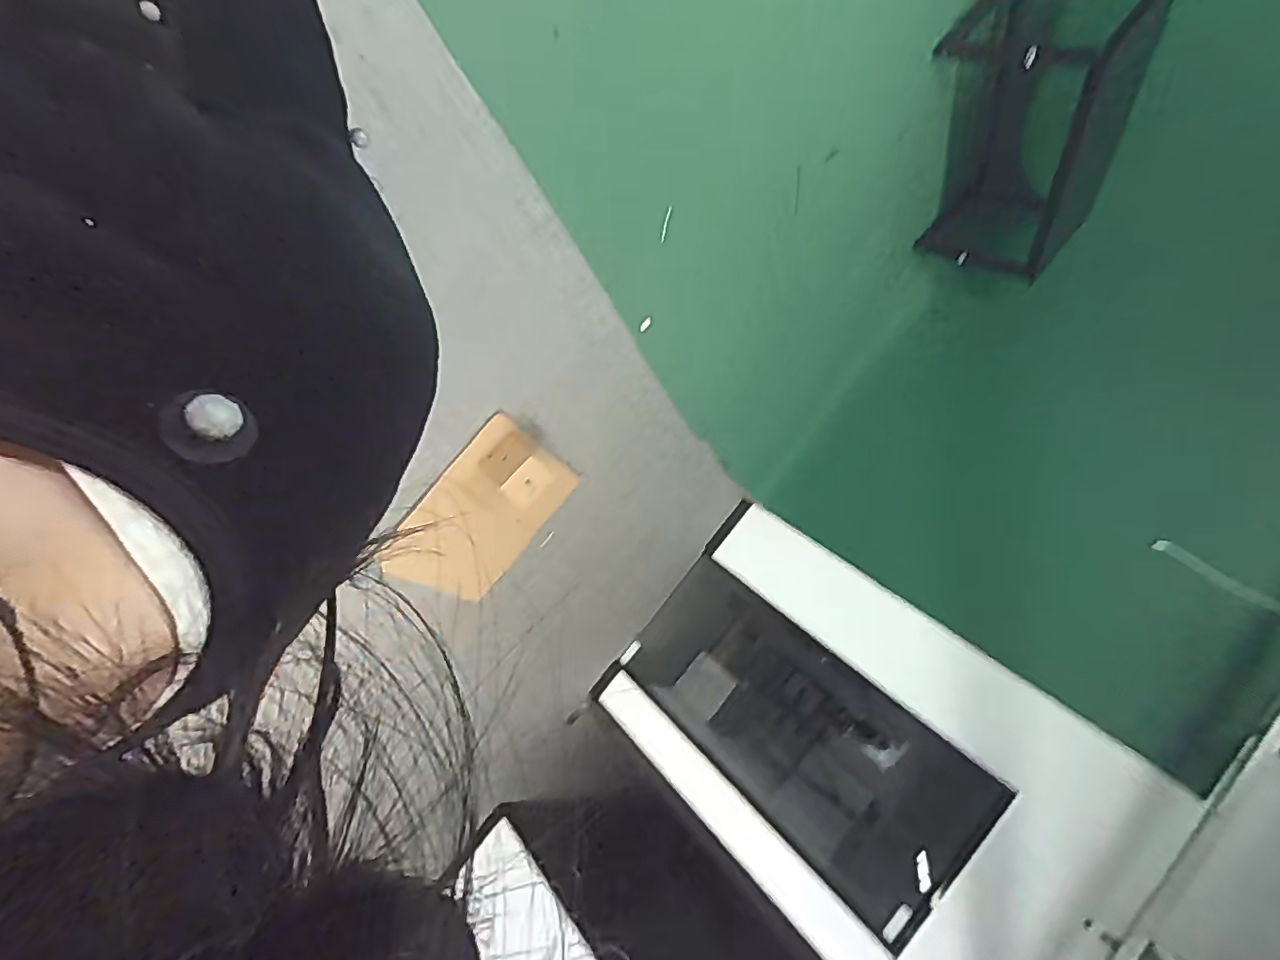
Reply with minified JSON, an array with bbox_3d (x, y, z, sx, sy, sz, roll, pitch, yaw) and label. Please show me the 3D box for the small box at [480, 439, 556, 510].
[{"bbox_3d":[-0.449,-0.028,1.974,0.168,0.176,0.179,-47,146,-8],"label":"small box"}]
